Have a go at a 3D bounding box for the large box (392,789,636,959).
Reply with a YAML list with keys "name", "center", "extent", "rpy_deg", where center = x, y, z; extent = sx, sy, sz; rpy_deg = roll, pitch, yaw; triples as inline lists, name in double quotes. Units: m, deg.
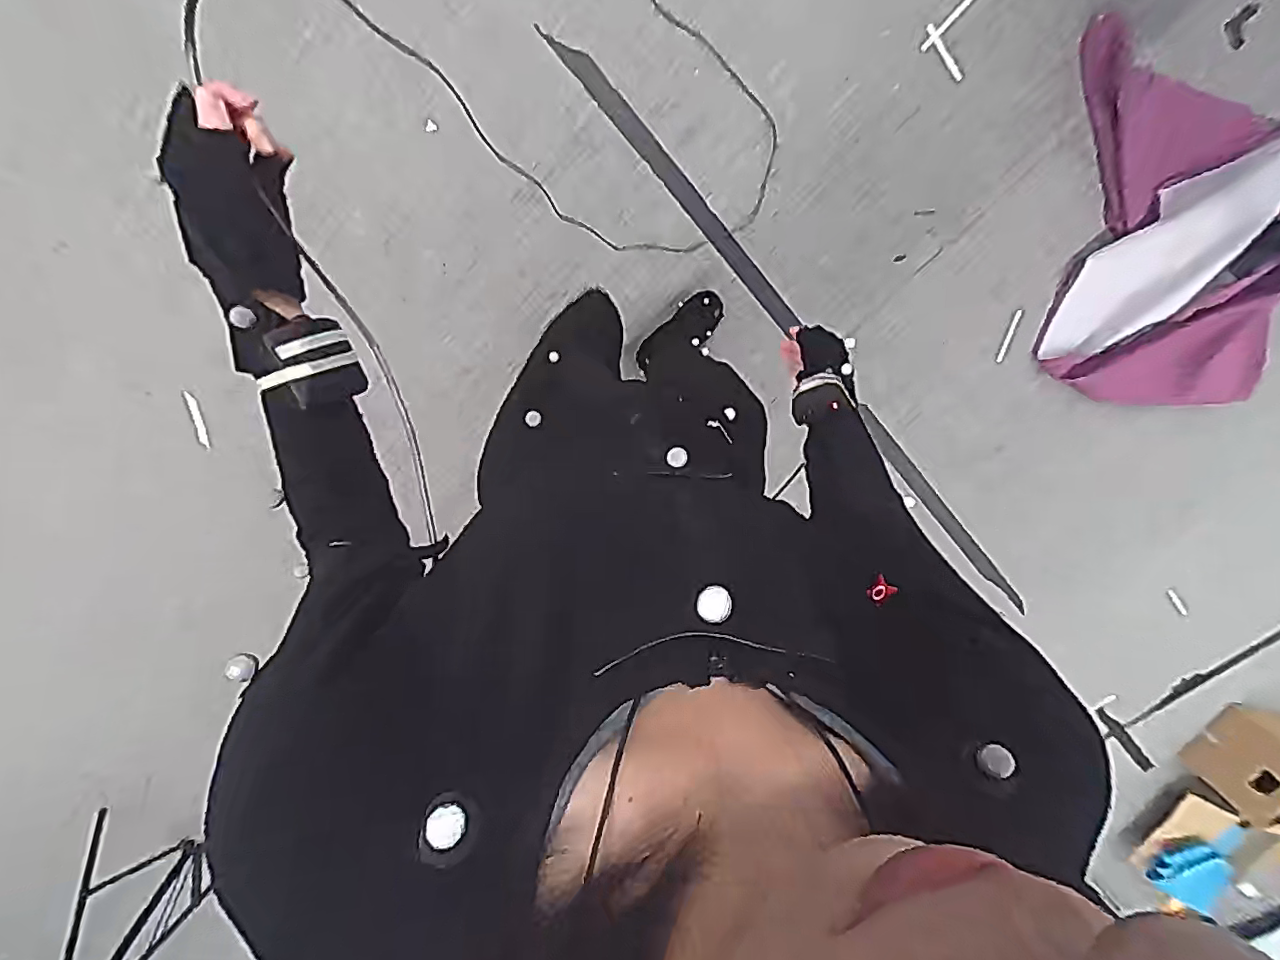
- name: "large box"
  center: [-0.254, 0.956, 1.161]
  extent: [0.408, 0.320, 0.320]
  rpy_deg: [40, 106, -18]
